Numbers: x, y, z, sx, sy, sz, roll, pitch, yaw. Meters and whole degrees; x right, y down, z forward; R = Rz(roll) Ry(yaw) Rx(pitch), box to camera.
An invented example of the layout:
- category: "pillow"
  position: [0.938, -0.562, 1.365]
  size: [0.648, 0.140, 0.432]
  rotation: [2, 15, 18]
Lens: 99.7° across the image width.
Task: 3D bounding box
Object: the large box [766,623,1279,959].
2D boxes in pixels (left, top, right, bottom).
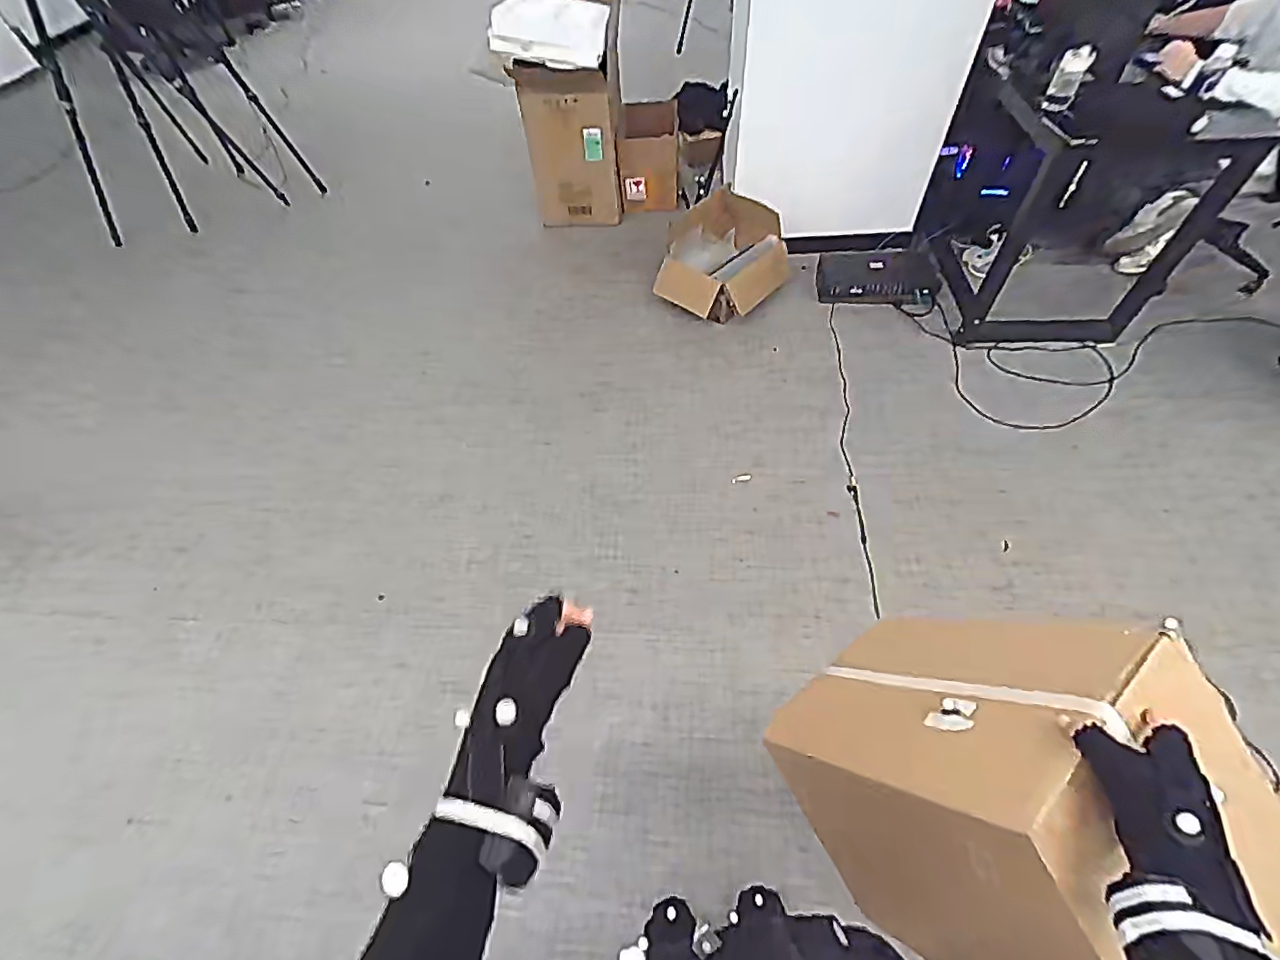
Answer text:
- category: "large box"
  position: [0.448, 0.402, 0.692]
  size: [0.320, 0.408, 0.320]
  rotation: [-30, 90, -24]
